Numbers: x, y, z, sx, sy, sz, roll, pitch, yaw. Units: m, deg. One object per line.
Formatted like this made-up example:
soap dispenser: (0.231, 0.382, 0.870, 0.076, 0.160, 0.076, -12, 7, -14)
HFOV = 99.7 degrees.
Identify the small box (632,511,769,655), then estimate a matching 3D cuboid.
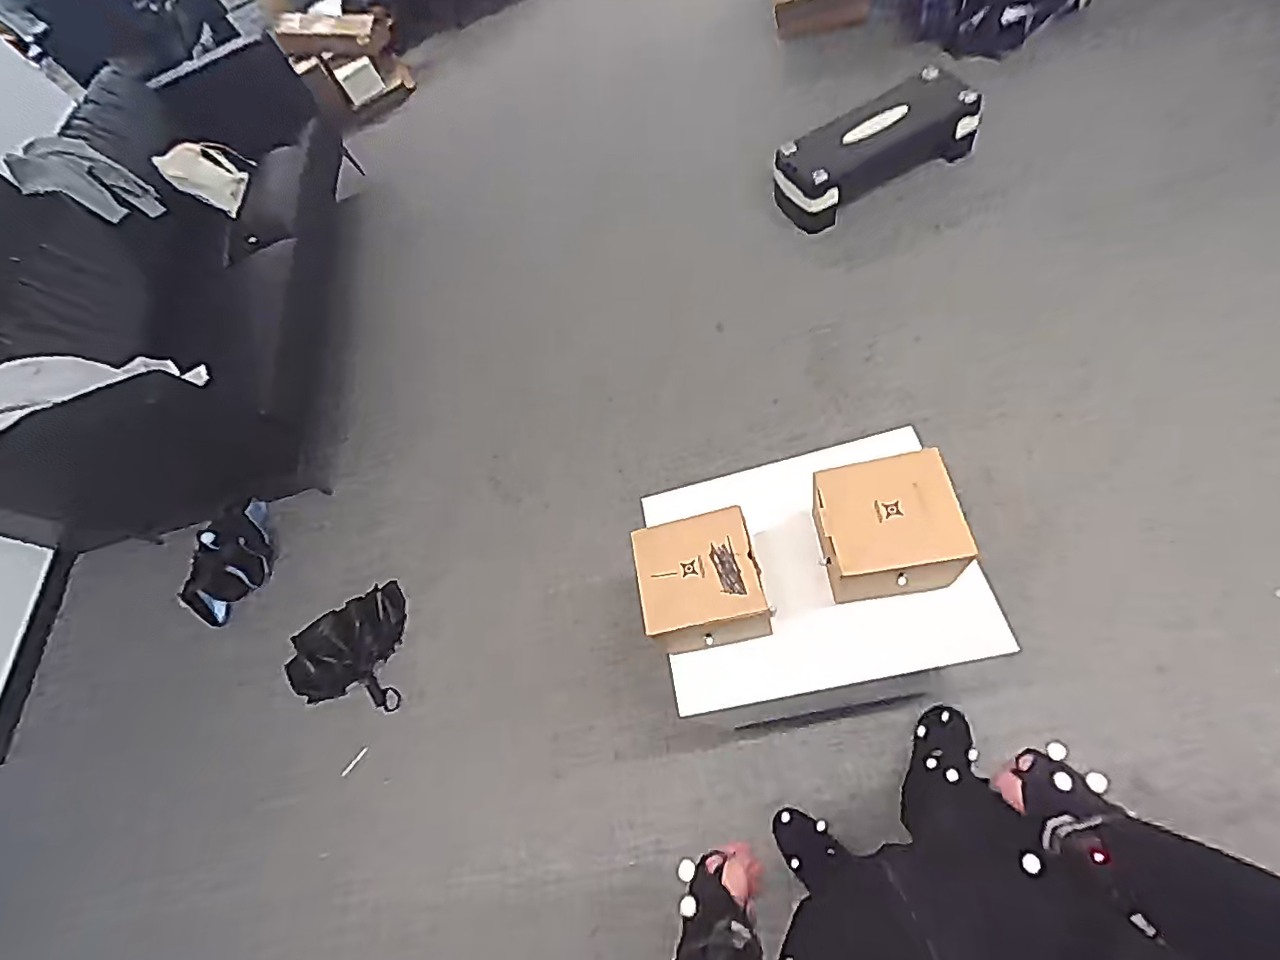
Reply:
small box: (0.101, 0.170, 0.857, 0.179, 0.176, 0.168, -15, 60, 10)

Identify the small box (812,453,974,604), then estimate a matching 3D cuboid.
small box: (0.367, 0.083, 0.821, 0.179, 0.176, 0.168, -12, 63, 11)
